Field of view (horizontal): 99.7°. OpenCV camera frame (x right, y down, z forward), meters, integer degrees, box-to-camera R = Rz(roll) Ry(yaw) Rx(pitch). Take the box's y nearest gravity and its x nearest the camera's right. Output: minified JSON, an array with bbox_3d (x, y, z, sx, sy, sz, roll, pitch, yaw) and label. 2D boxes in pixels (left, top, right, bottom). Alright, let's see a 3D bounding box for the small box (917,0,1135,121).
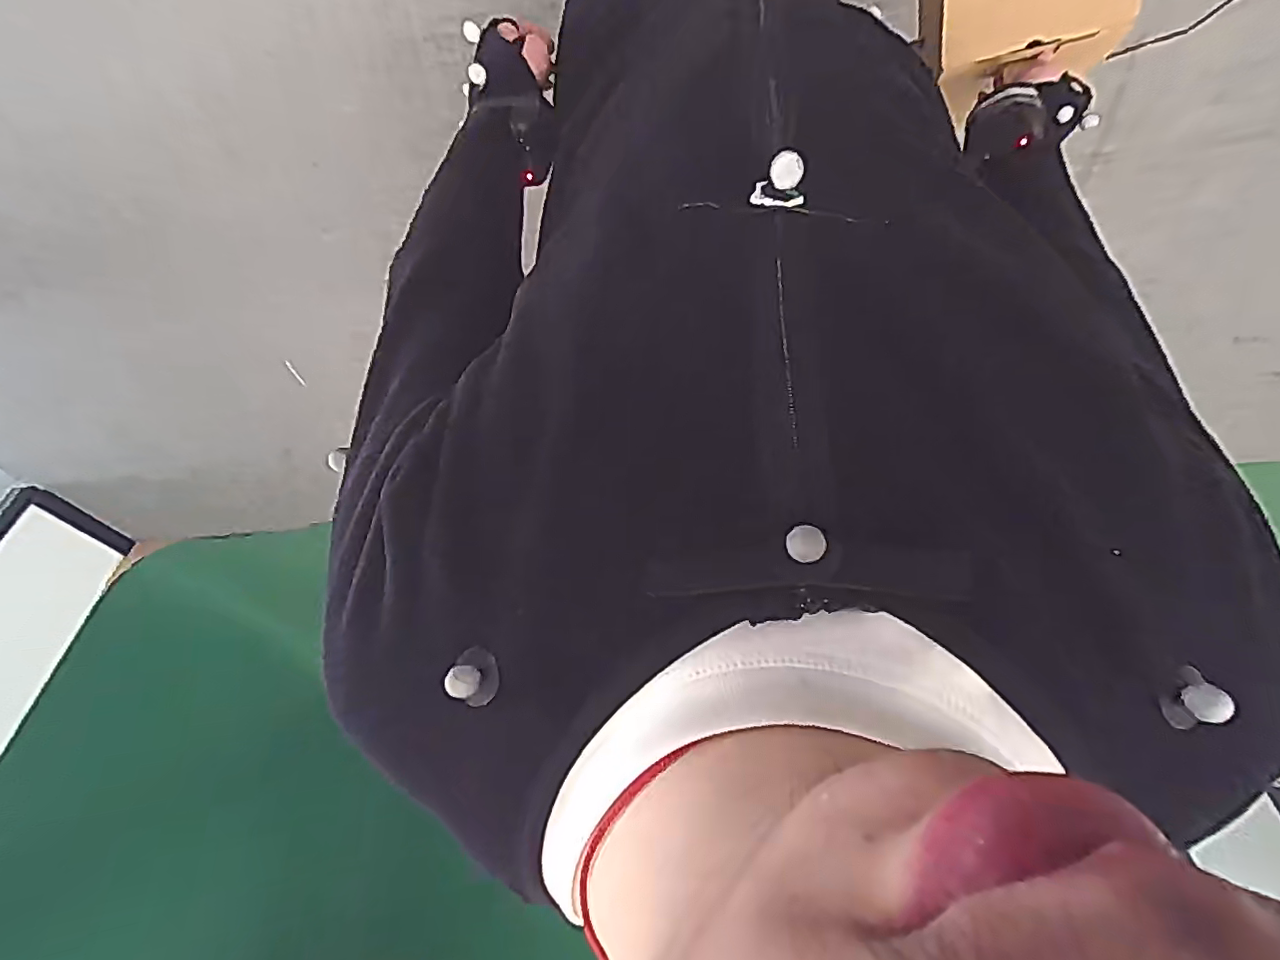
[{"bbox_3d":[0.410,-0.527,0.594,0.168,0.176,0.179,0,101,19],"label":"small box"}]
